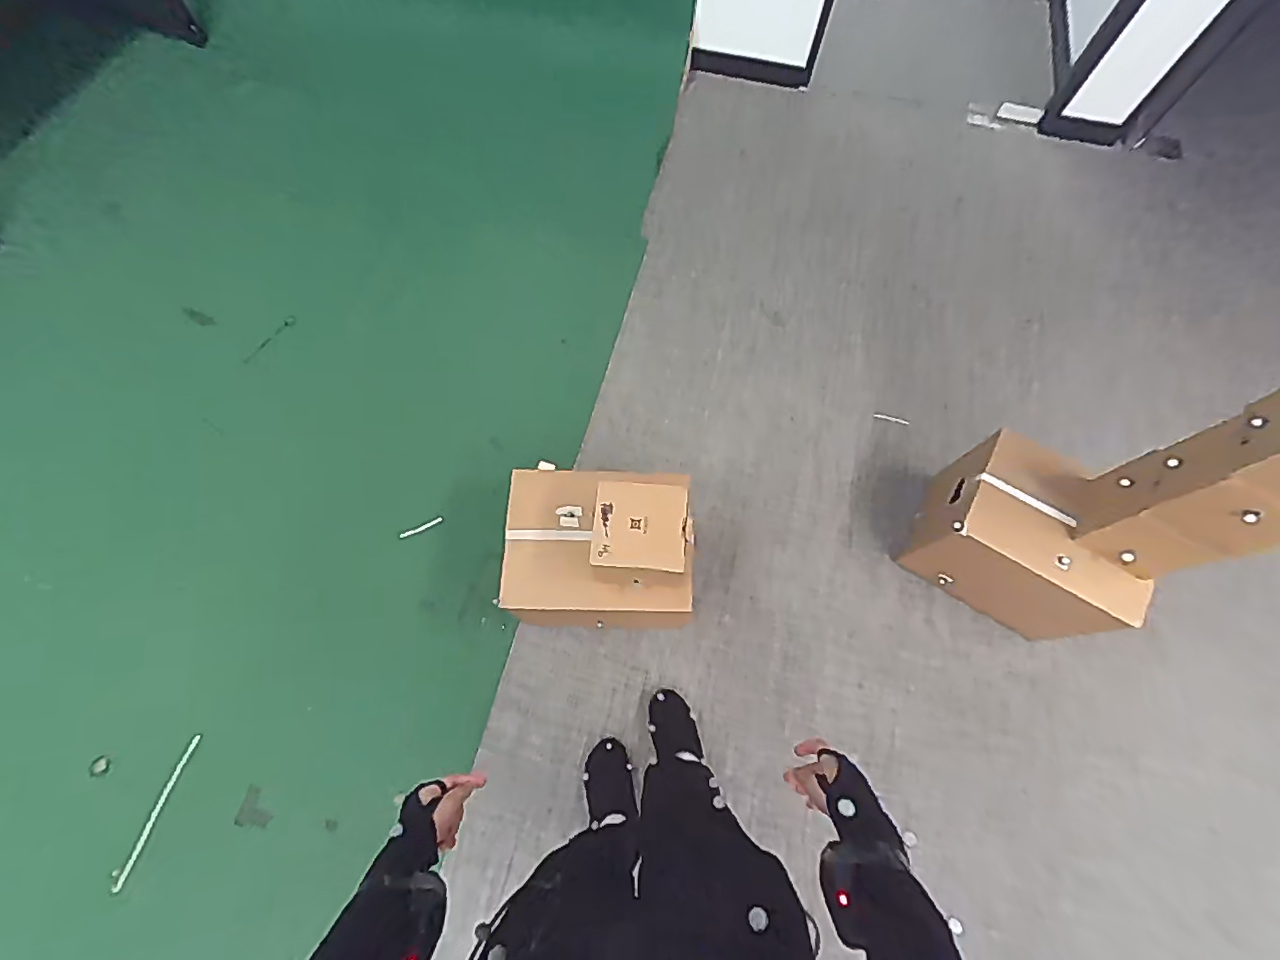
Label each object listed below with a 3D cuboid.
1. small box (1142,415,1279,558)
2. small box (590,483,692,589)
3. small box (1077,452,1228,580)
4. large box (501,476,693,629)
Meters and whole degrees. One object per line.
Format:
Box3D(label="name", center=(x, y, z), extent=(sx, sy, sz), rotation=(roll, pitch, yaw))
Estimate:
Box3D(label="small box", center=(1.073, 0.022, 0.967), extent=(0.179, 0.176, 0.168), rotation=(33, 69, 12))
Box3D(label="small box", center=(0.002, 0.117, 1.071), extent=(0.179, 0.176, 0.168), rotation=(5, 69, 0))
Box3D(label="small box", center=(1.059, 0.080, 1.117), extent=(0.168, 0.176, 0.179), rotation=(32, 69, 11))
Box3D(label="large box", center=(-0.088, 0.189, 1.305), extent=(0.408, 0.320, 0.320), rotation=(1, 67, 0))
